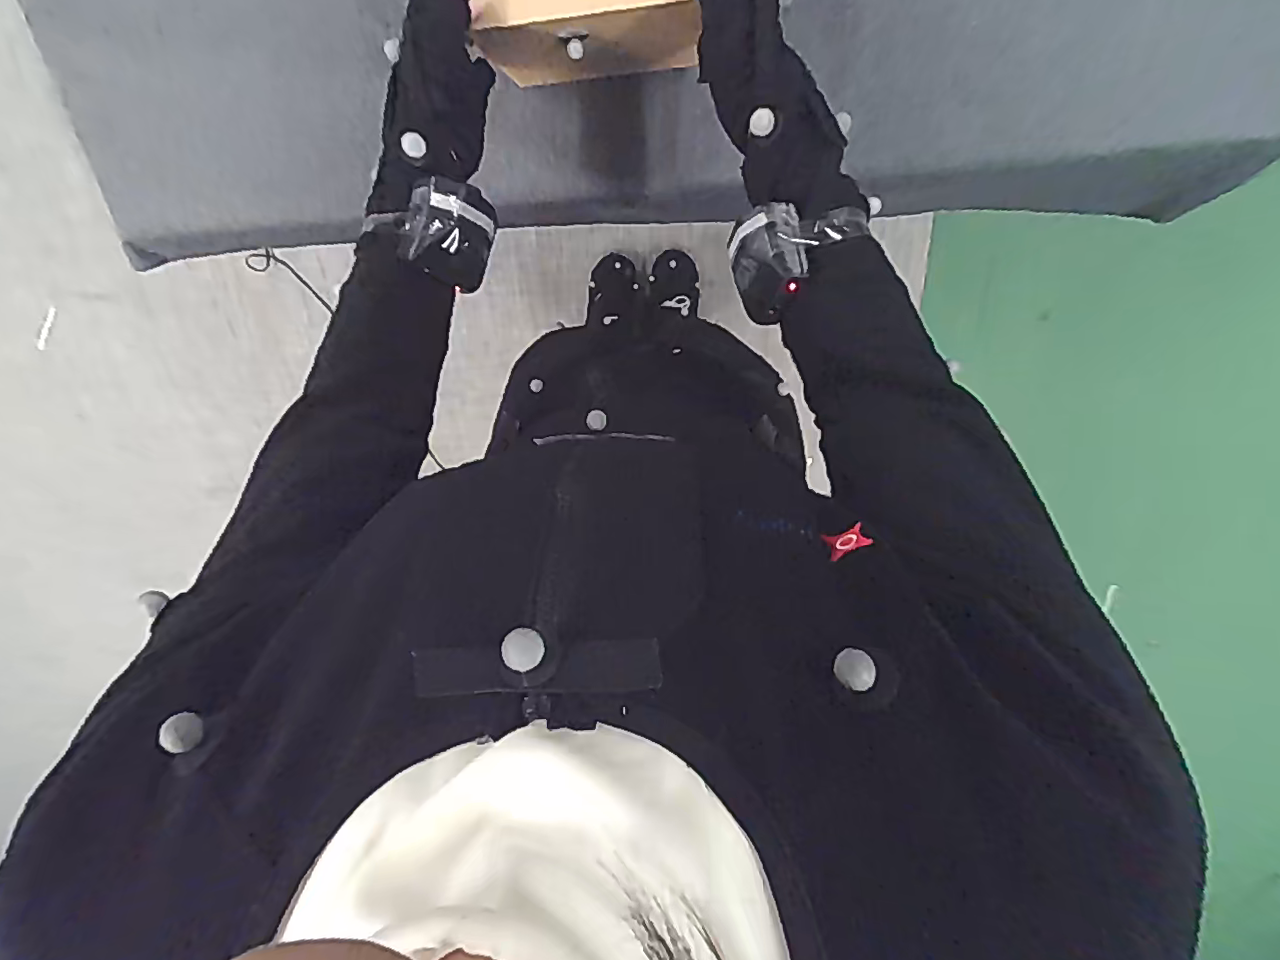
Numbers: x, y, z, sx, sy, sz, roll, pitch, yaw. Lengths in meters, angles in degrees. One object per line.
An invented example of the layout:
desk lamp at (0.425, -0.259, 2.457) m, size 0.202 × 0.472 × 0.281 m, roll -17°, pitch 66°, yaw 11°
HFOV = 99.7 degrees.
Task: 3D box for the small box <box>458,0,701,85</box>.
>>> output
small box at (-0.042, -0.433, 0.422) m, size 0.179 × 0.176 × 0.168 m, roll -3°, pitch 114°, yaw 5°
